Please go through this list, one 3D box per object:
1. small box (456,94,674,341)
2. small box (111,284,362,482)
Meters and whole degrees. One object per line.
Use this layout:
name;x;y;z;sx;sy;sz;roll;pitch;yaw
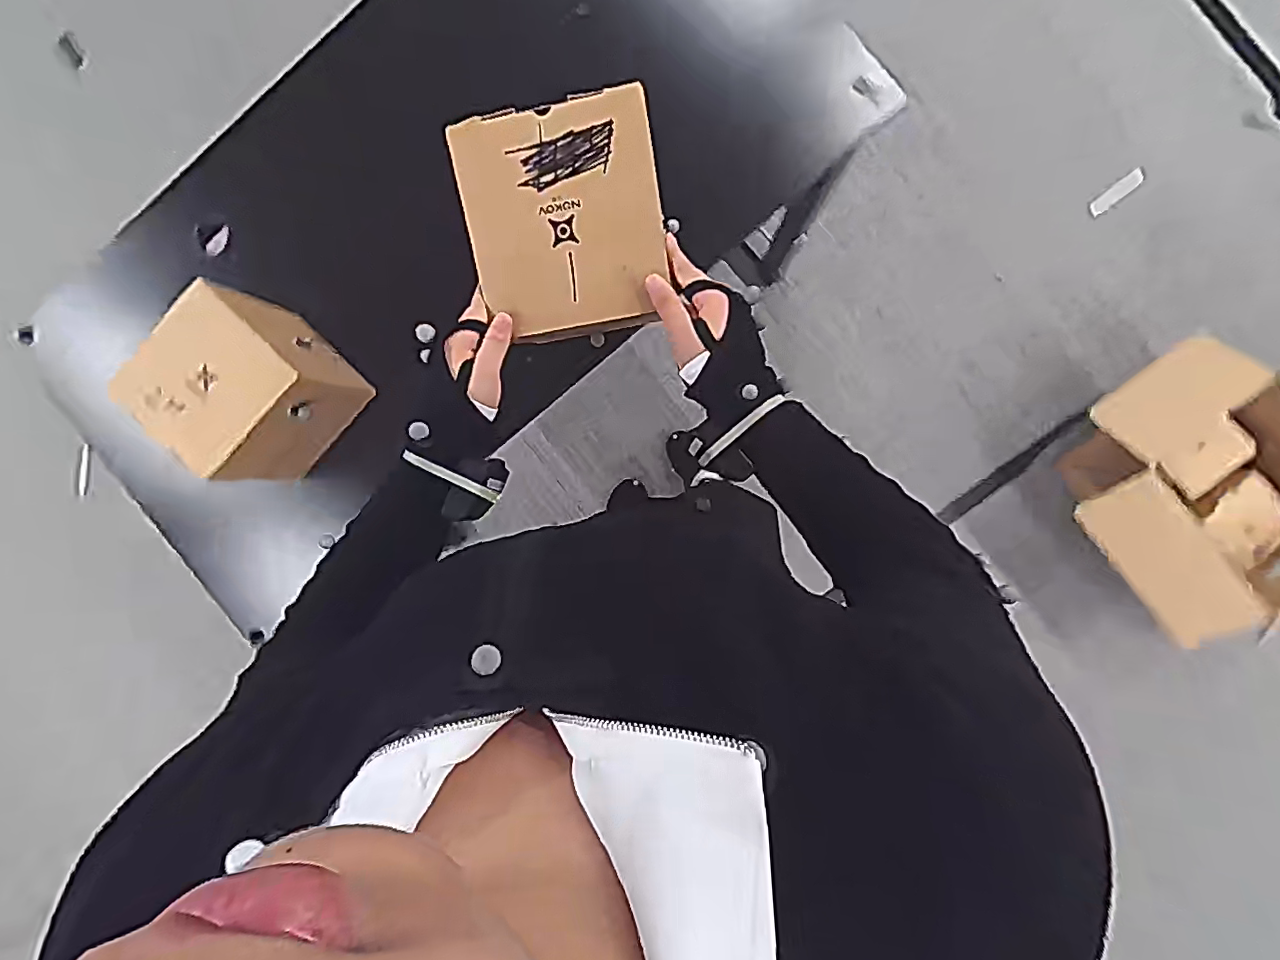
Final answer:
small box;-0.057;-0.237;0.537;0.168;0.176;0.179;-7;104;7
small box;-0.507;-0.118;0.714;0.168;0.176;0.179;43;94;1
